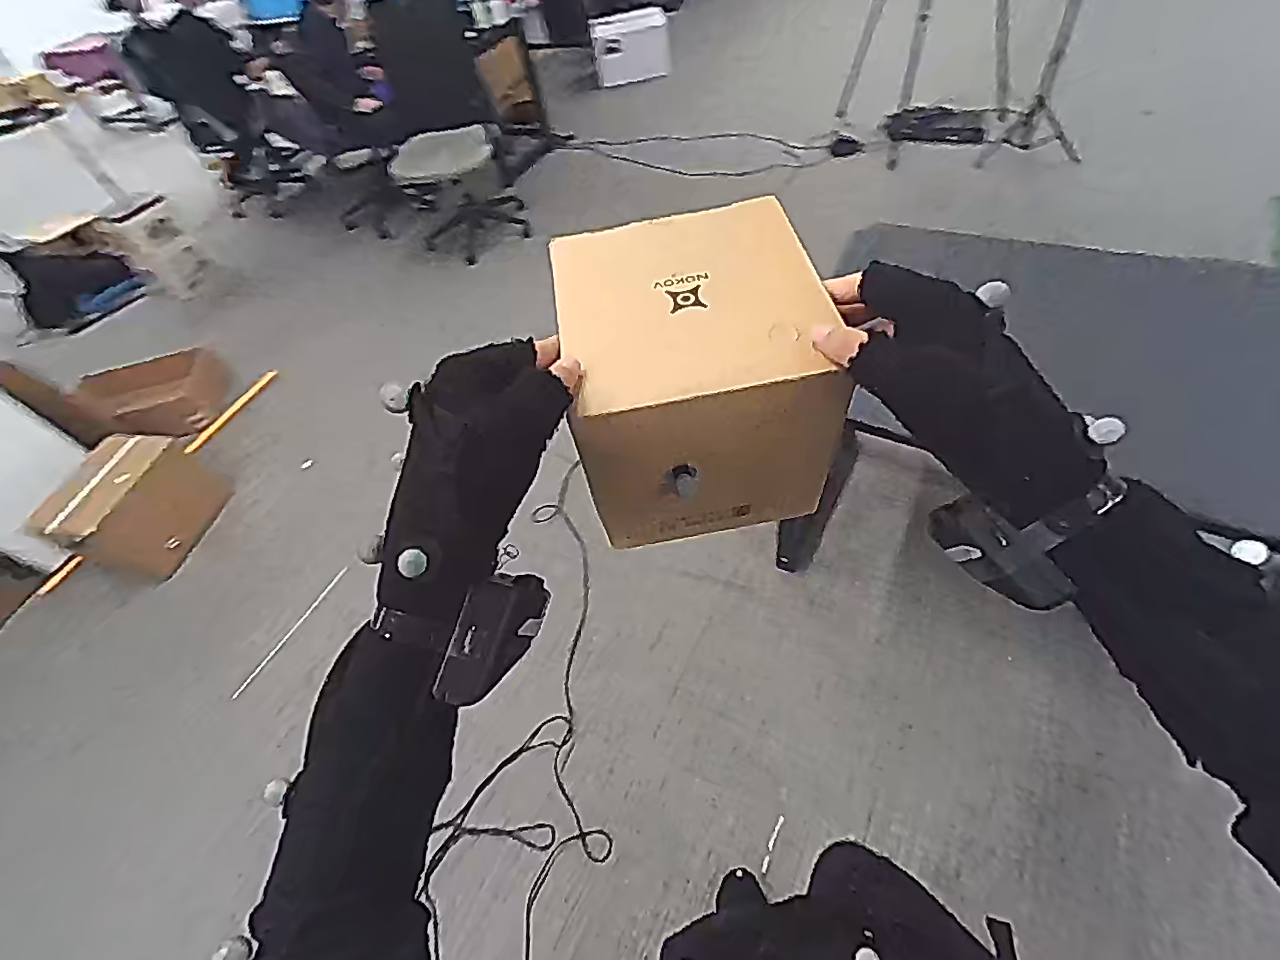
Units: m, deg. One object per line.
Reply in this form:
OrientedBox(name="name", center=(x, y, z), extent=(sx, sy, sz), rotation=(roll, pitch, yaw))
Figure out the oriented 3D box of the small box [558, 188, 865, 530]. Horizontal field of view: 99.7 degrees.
OrientedBox(name="small box", center=(0.042, -0.076, 0.402), extent=(0.168, 0.176, 0.179), rotation=(-10, 56, 1))
